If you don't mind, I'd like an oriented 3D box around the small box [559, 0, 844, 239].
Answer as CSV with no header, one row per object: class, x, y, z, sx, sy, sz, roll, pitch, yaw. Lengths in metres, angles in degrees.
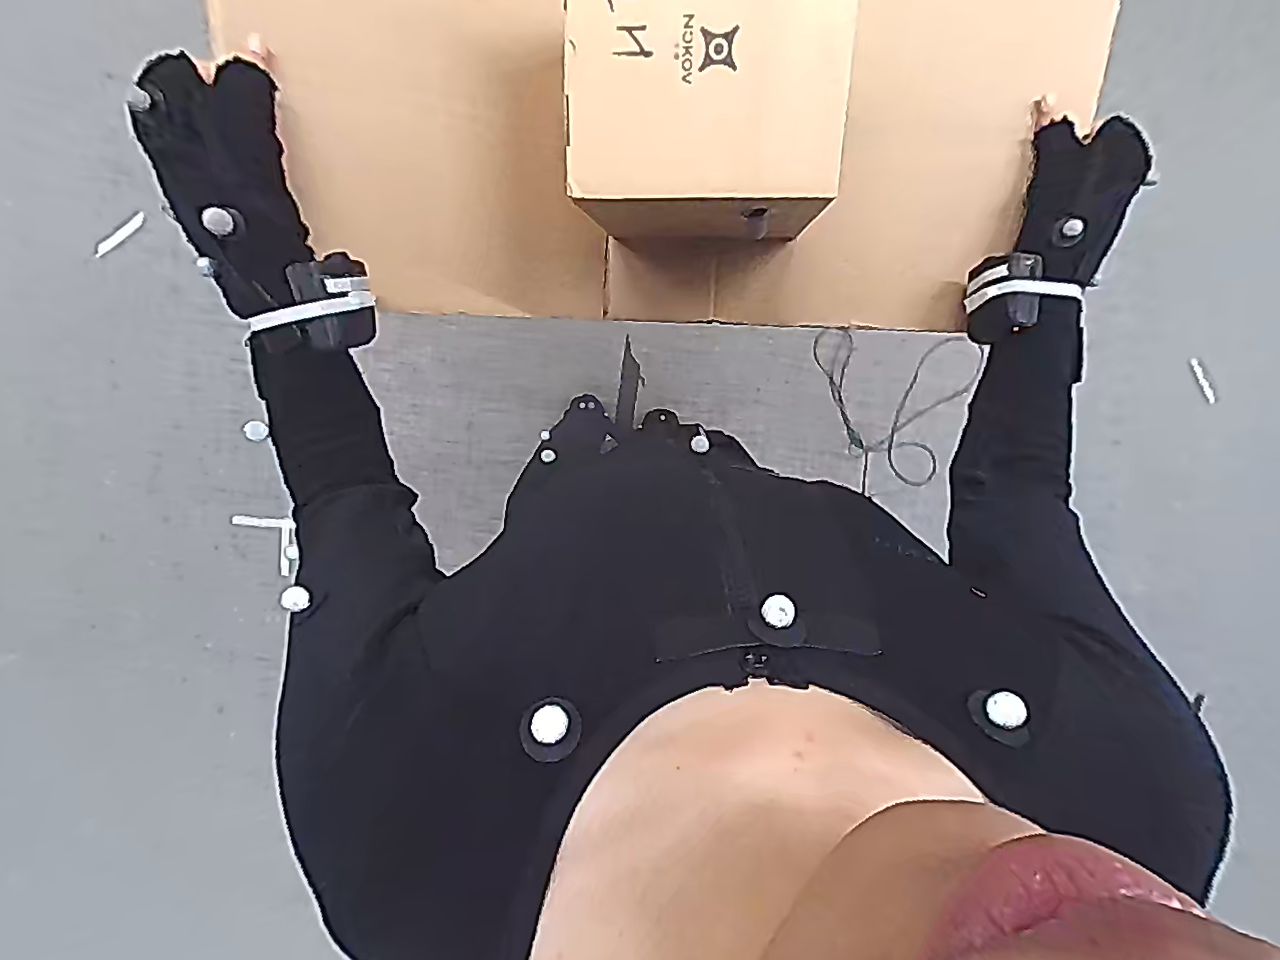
small box,0.044,-0.286,0.412,0.179,0.176,0.168,3,106,7
